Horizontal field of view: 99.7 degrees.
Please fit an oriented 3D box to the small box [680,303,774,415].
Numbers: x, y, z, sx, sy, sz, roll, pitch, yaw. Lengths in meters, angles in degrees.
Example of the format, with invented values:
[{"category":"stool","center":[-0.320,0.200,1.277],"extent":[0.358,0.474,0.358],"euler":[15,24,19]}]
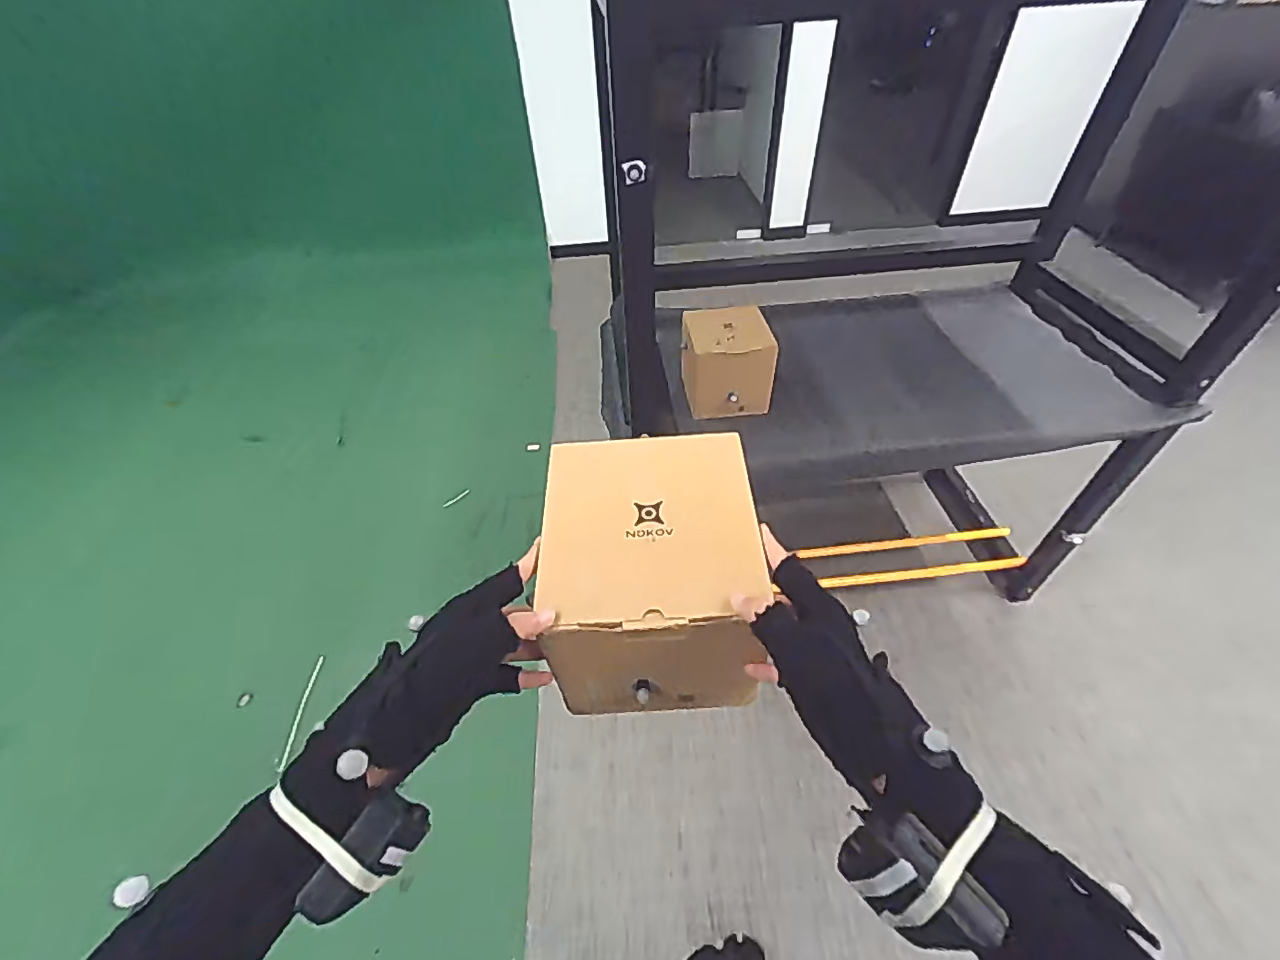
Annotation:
[{"category":"small box","center":[0.179,-0.263,1.174],"extent":[0.168,0.176,0.179],"euler":[-6,45,-2]}]
